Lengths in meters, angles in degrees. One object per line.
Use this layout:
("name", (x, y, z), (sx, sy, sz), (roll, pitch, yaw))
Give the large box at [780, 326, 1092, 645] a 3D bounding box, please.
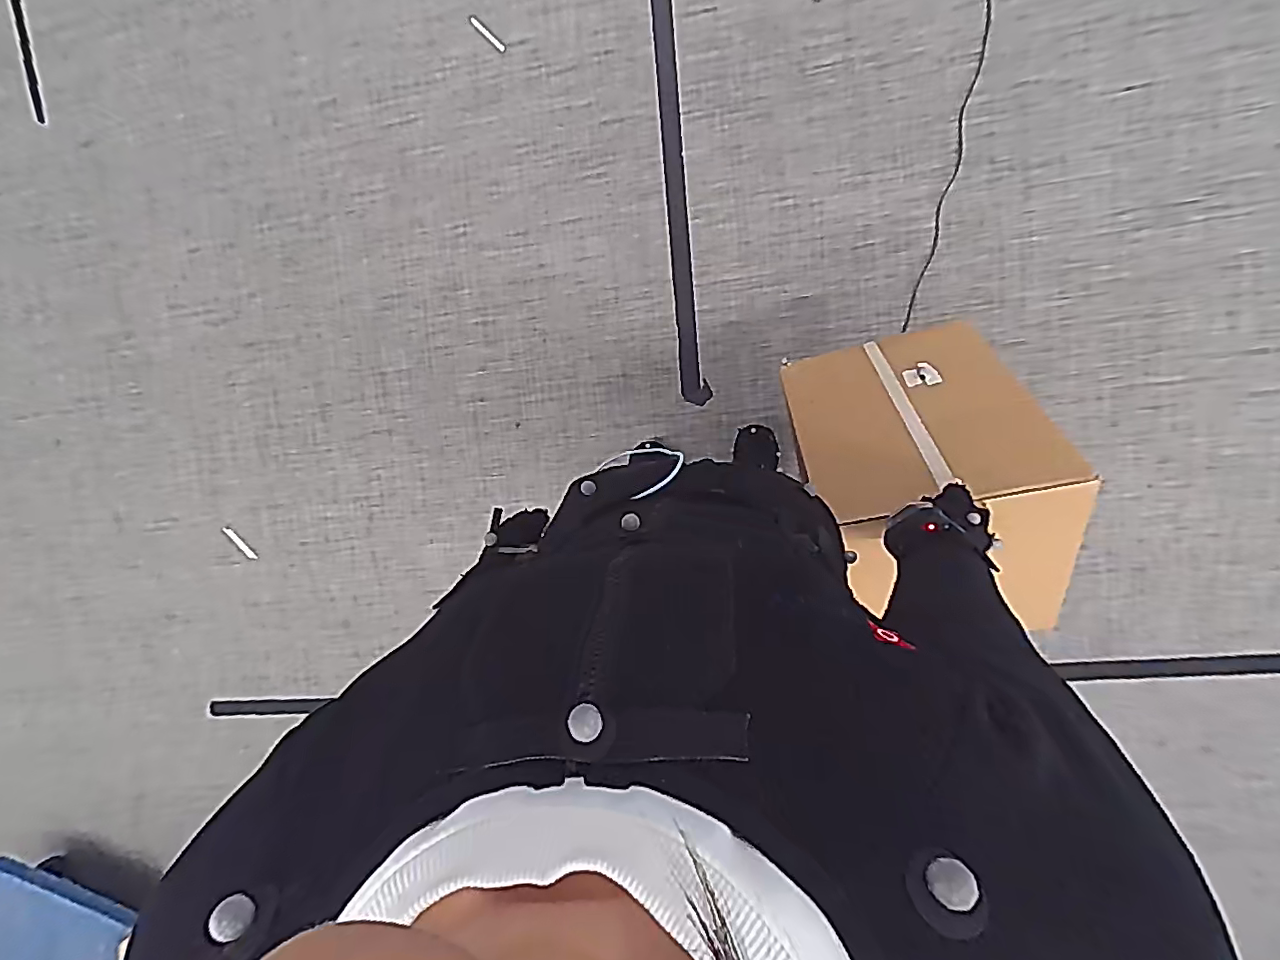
("large box", (0.446, 0.005, 0.908), (0.320, 0.408, 0.320), (-12, 129, 13))
